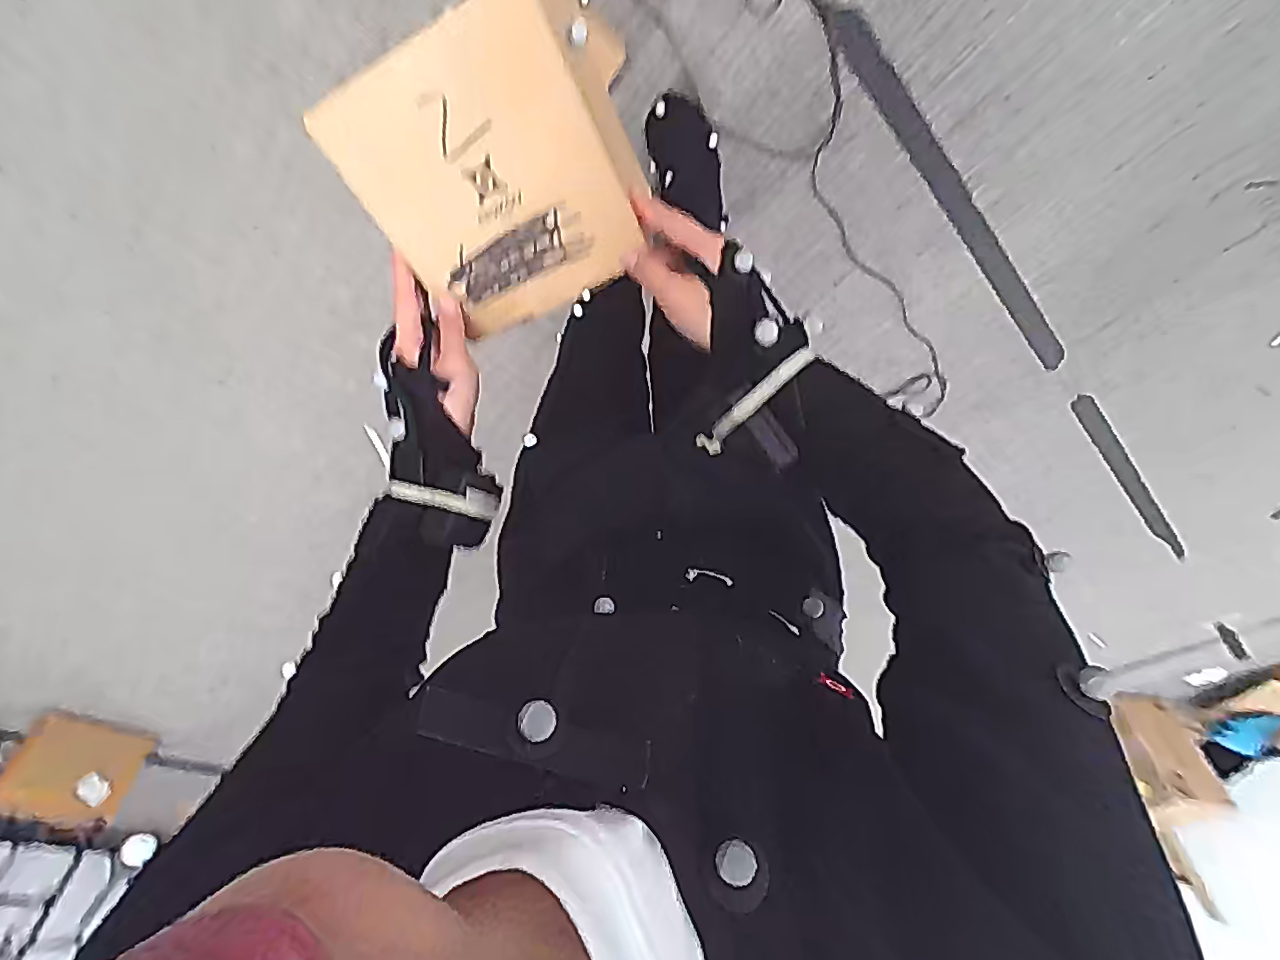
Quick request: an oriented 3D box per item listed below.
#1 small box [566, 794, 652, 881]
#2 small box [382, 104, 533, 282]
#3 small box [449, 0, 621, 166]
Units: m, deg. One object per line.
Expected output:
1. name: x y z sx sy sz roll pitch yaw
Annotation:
1. small box: -0.088 1.003 1.519 0.179 0.176 0.168 33 124 -31
2. small box: -0.297 -0.481 0.910 0.168 0.176 0.179 31 127 -30
3. small box: -0.147 -0.610 0.789 0.179 0.176 0.168 30 127 -29
